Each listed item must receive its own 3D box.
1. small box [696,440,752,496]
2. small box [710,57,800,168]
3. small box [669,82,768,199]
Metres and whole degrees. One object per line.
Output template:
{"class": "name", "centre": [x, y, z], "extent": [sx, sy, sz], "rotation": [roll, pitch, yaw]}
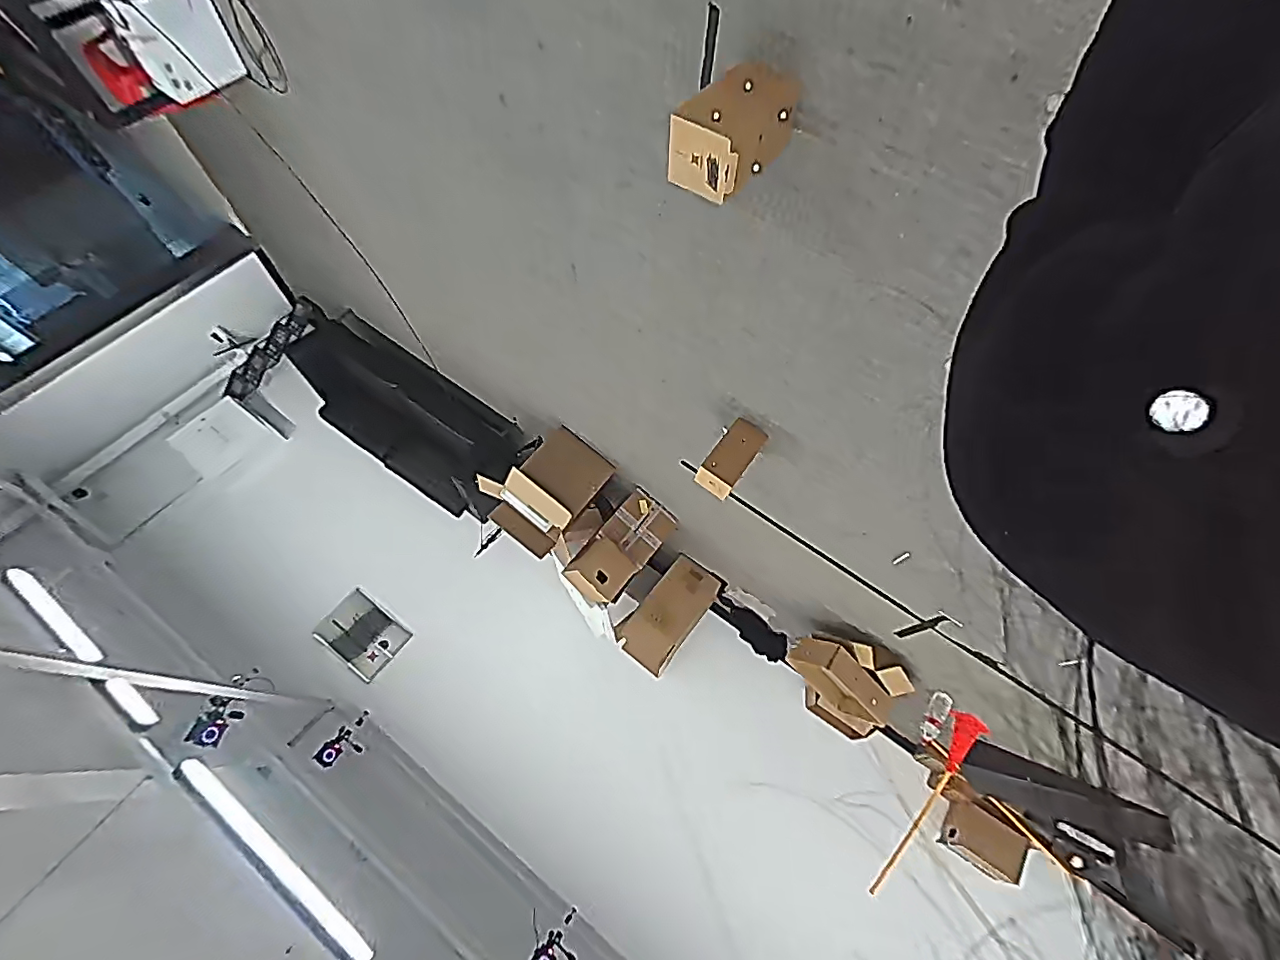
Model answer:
{"class": "small box", "centre": [0.388, -0.062, 2.511], "extent": [0.179, 0.176, 0.168], "rotation": [35, 158, 9]}
{"class": "small box", "centre": [0.291, -0.959, 1.408], "extent": [0.179, 0.176, 0.168], "rotation": [34, 156, 18]}
{"class": "small box", "centre": [0.193, -0.844, 1.341], "extent": [0.179, 0.176, 0.168], "rotation": [34, 157, 17]}
